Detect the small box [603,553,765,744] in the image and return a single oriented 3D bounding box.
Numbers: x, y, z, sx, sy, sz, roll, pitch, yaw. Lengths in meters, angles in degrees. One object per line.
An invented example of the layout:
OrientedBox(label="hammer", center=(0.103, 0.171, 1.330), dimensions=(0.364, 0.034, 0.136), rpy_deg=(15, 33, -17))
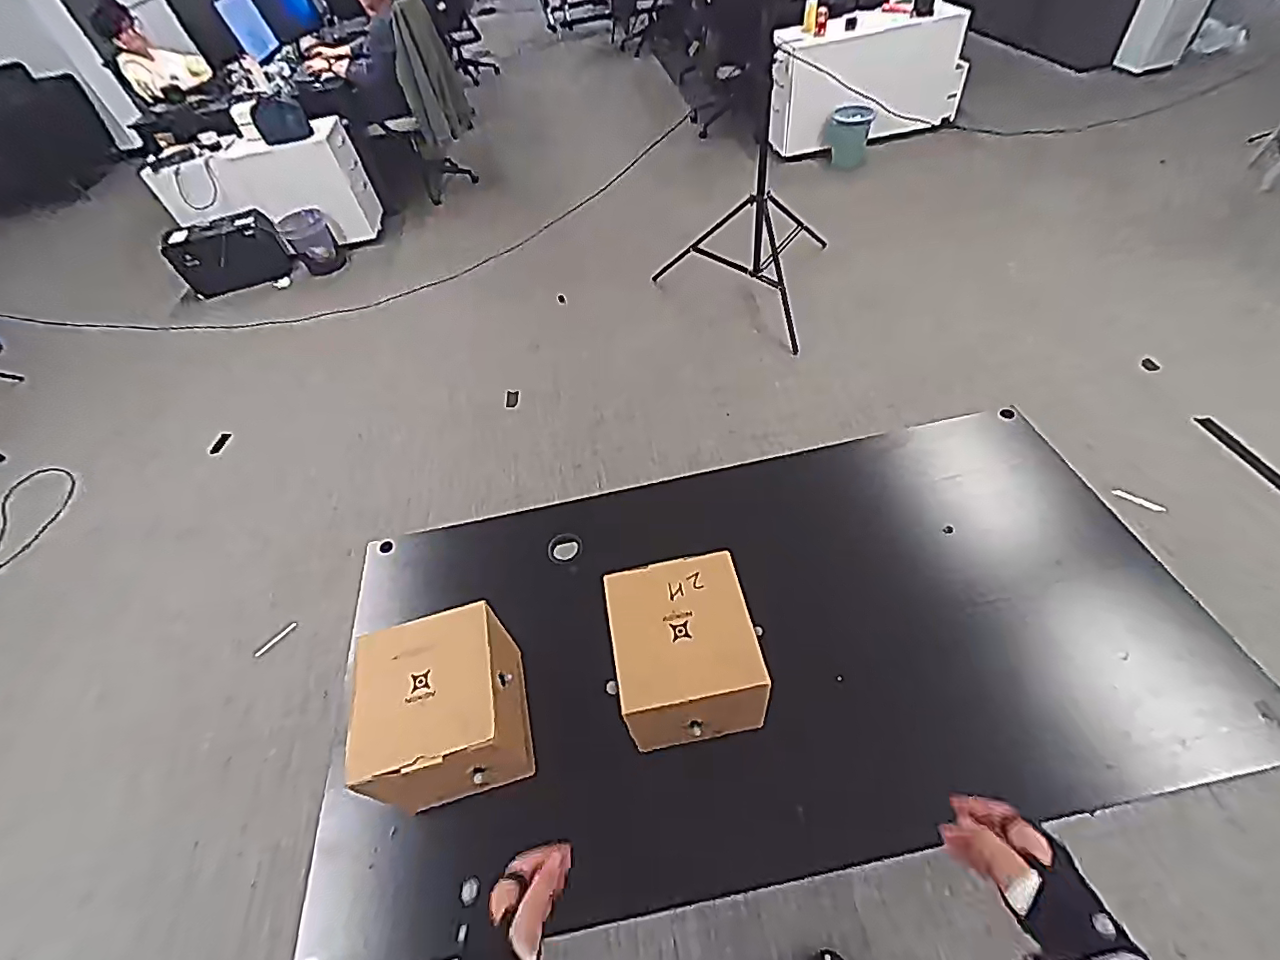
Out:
OrientedBox(label="small box", center=(0.054, 0.223, 0.695), dimensions=(0.168, 0.176, 0.179), rpy_deg=(-11, 50, -1))

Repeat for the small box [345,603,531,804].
OrientedBox(label="small box", center=(-0.246, 0.290, 0.688), dimensions=(0.168, 0.176, 0.179), rpy_deg=(-15, 49, -6))
